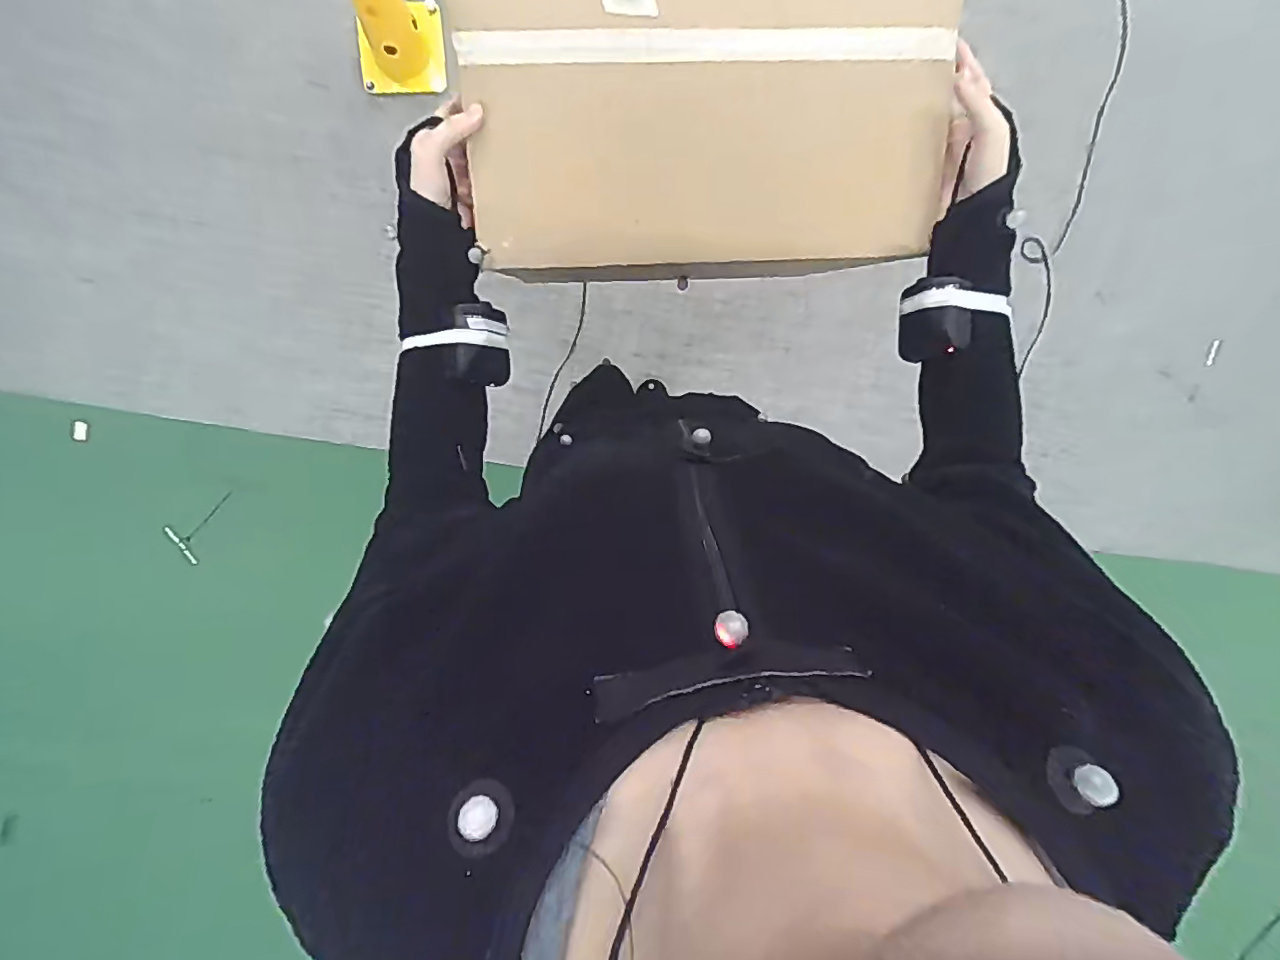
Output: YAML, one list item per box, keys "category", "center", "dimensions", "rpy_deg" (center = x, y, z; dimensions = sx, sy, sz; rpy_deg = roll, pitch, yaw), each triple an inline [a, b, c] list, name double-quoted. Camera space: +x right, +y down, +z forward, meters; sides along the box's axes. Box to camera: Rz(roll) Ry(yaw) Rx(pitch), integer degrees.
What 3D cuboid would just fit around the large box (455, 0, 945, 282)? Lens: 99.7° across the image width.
- category: "large box"
  center: [0.046, -0.393, 0.586]
  dimensions: [0.408, 0.320, 0.320]
  rpy_deg: [-4, 107, -3]
